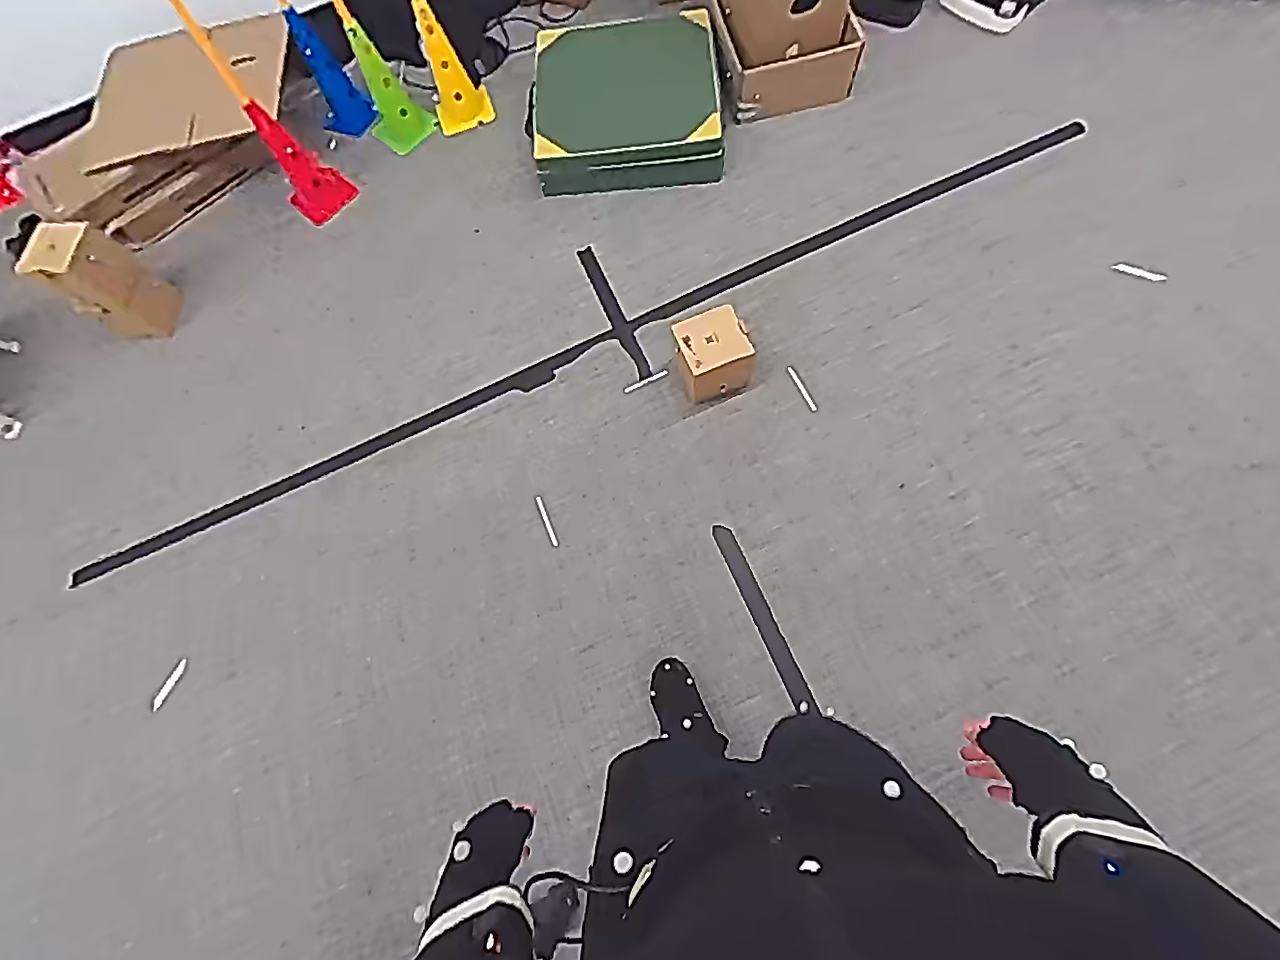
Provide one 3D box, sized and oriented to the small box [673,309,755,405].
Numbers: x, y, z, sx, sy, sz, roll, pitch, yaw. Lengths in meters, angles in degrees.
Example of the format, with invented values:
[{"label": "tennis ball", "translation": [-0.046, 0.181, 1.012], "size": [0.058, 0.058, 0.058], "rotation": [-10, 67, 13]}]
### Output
[{"label": "small box", "translation": [0.199, -0.334, 1.499], "size": [0.179, 0.176, 0.168], "rotation": [-20, 70, -2]}]
